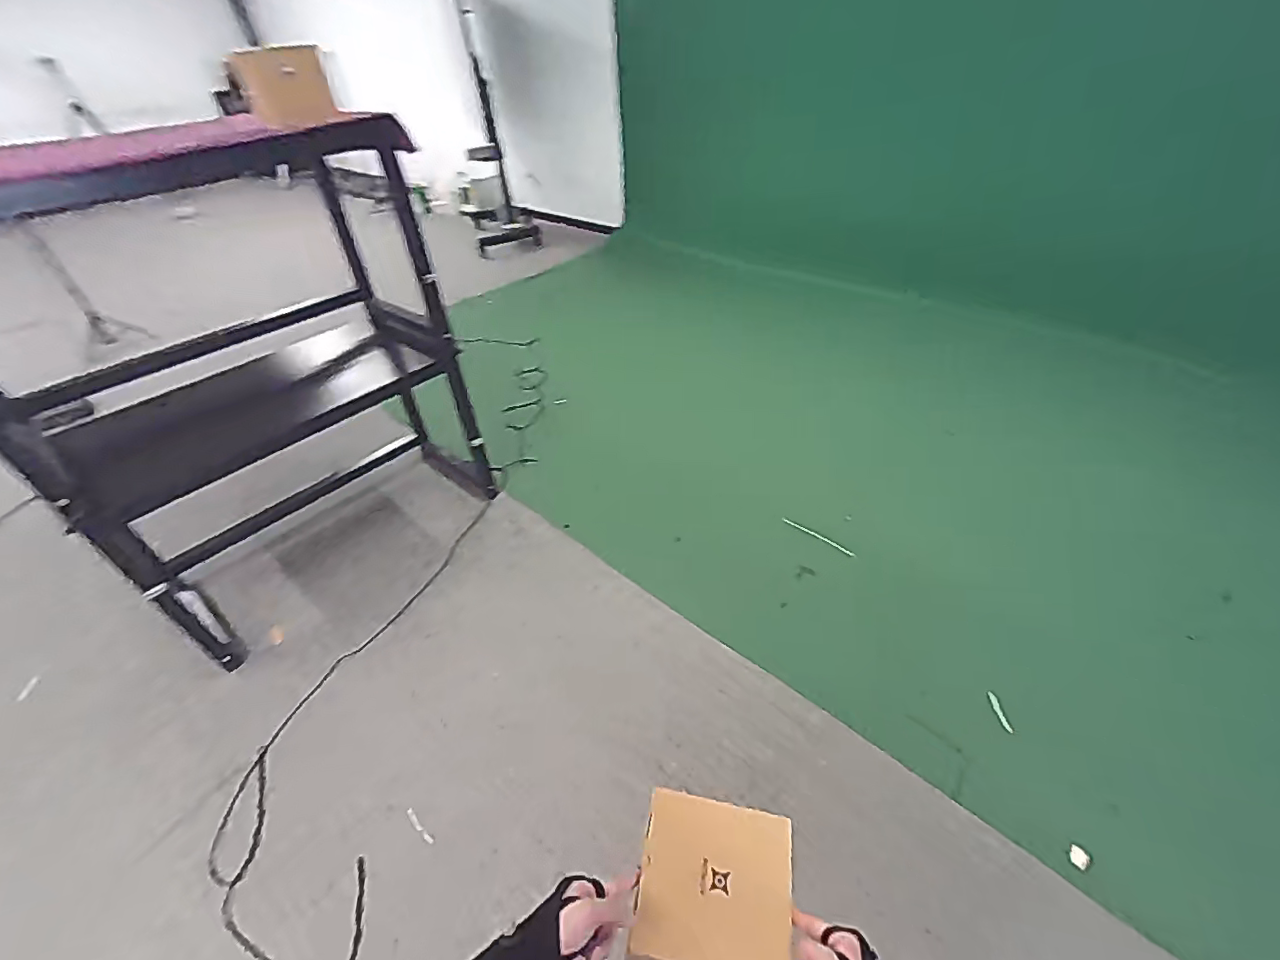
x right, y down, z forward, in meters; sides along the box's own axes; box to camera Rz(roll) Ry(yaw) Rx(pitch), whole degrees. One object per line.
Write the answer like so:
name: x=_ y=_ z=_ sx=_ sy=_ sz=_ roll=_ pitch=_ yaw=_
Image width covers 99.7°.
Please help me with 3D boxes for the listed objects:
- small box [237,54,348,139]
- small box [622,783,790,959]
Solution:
small box: x=-0.931 y=-1.034 z=1.457 sx=0.179 sy=0.176 sz=0.168 roll=-34 pitch=50 yaw=-31
small box: x=0.079 y=0.511 z=0.675 sx=0.179 sy=0.176 sz=0.168 roll=8 pitch=42 yaw=6
